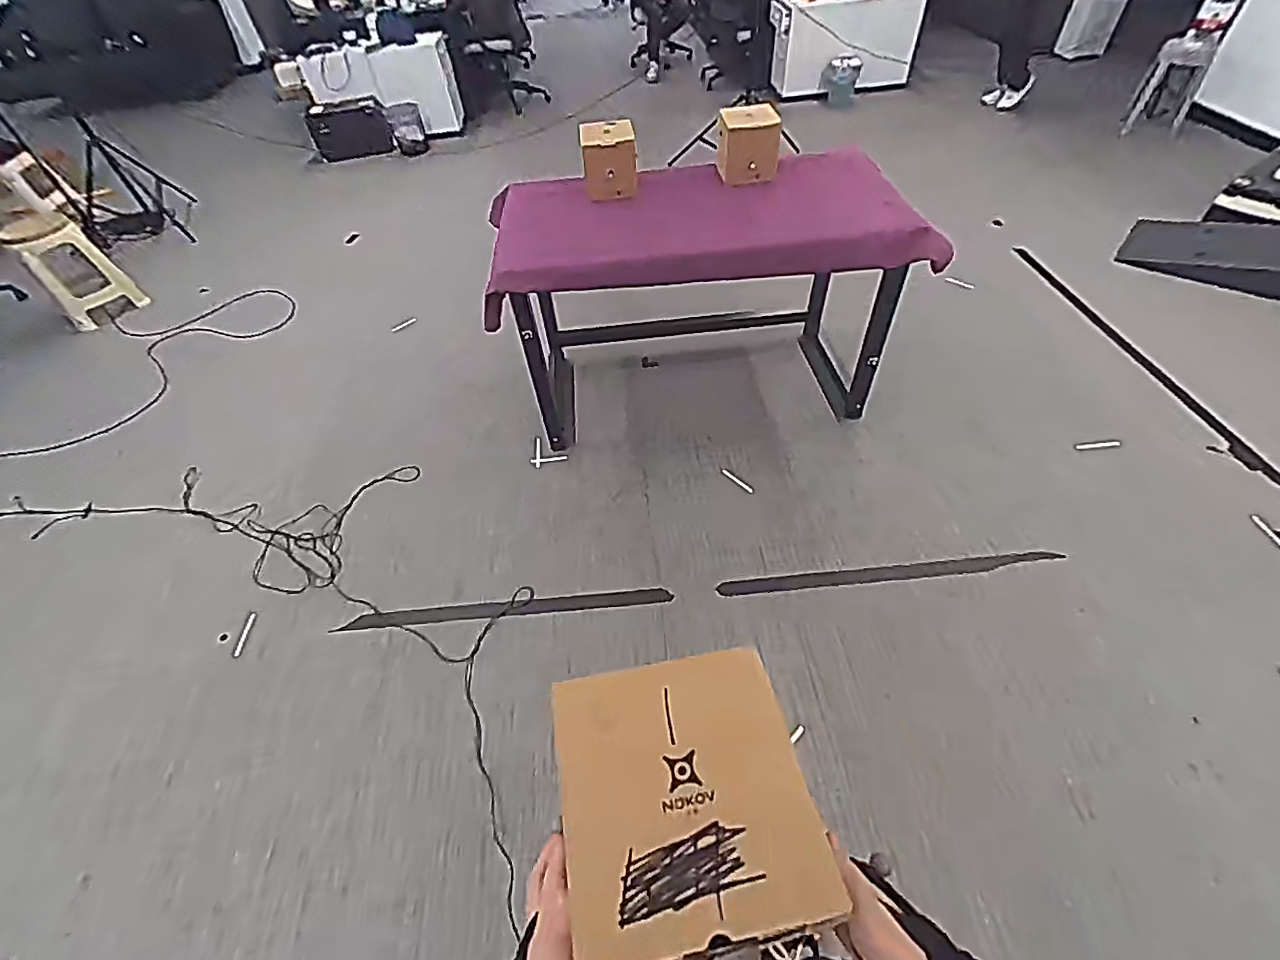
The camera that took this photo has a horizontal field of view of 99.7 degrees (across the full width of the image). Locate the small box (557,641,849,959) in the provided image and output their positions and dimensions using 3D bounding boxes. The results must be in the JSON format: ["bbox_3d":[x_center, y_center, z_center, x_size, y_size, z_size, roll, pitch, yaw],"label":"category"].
[{"bbox_3d":[0.032,0.255,0.424,0.168,0.176,0.179,-8,47,-8],"label":"small box"}]

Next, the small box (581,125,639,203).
[{"bbox_3d":[-0.095,-1.010,1.740,0.168,0.176,0.179,-6,52,-1],"label":"small box"}]

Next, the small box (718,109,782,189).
[{"bbox_3d":[0.349,-1.069,1.749,0.168,0.176,0.179,-7,51,1],"label":"small box"}]
